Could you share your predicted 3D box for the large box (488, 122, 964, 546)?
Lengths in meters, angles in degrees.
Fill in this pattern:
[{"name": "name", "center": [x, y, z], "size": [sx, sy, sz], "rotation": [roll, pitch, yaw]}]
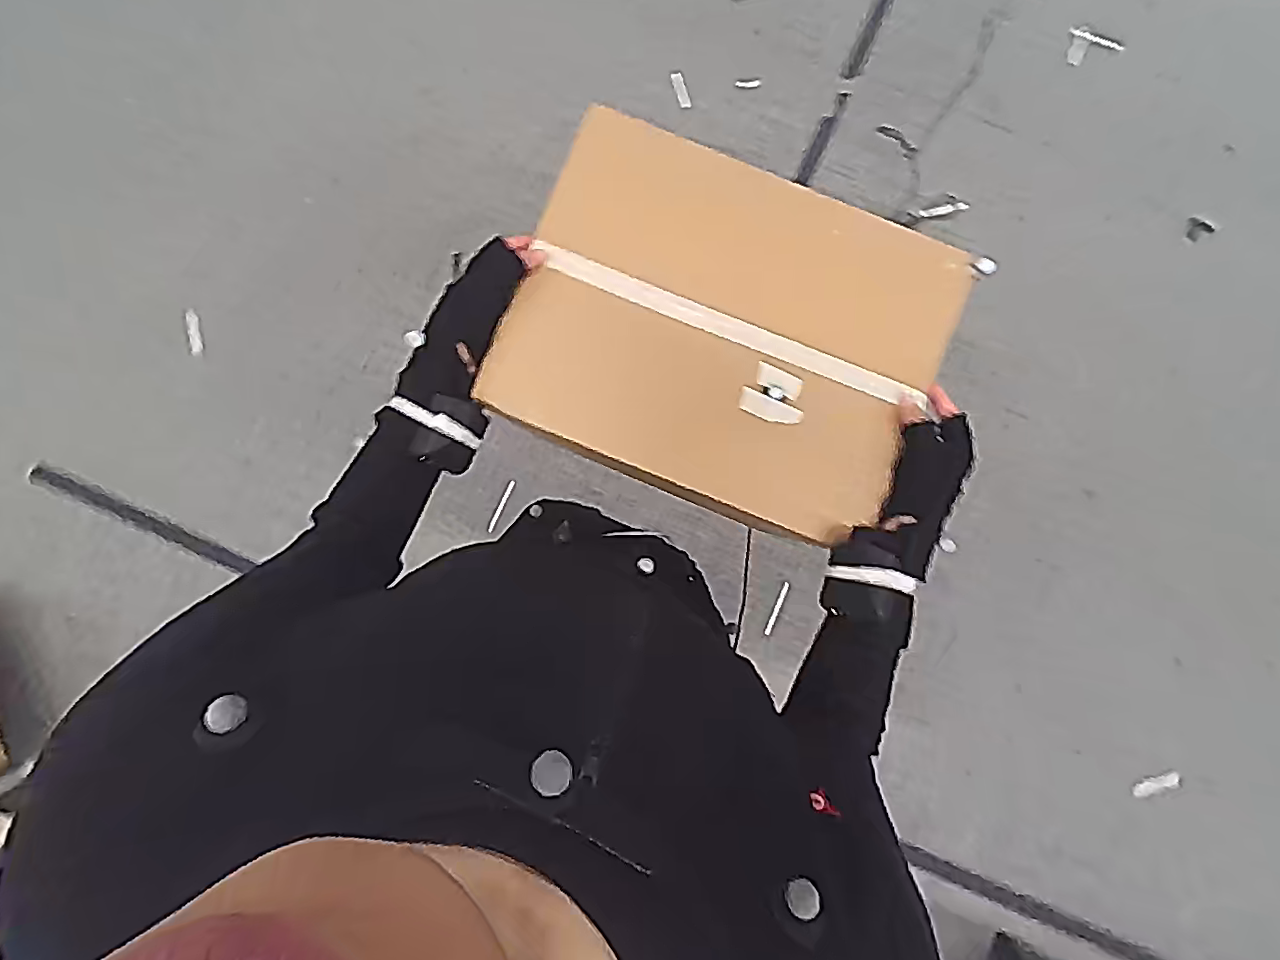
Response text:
[{"name": "large box", "center": [0.083, -0.142, 0.681], "size": [0.408, 0.320, 0.320], "rotation": [22, 89, -1]}]
